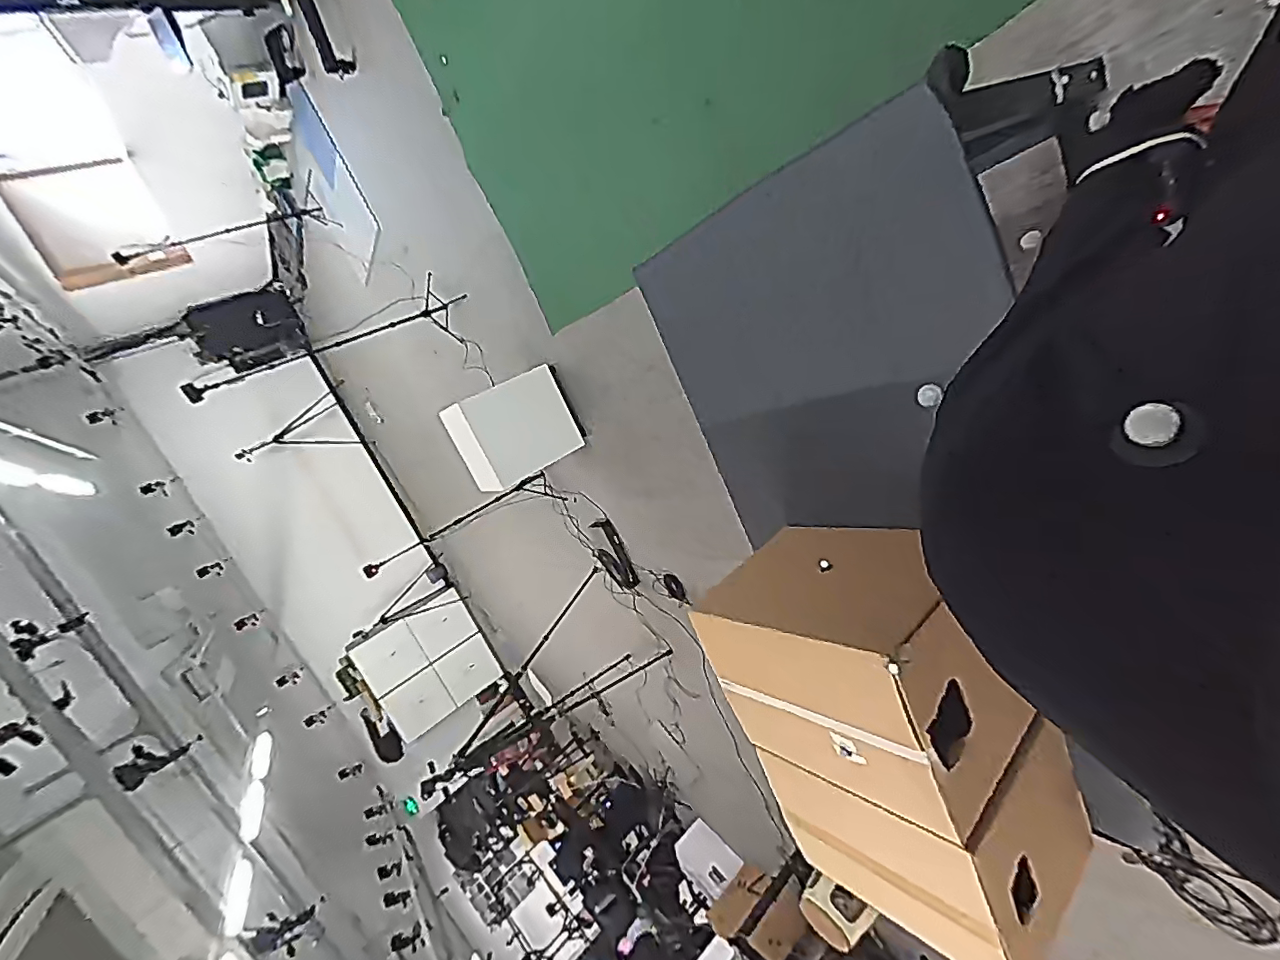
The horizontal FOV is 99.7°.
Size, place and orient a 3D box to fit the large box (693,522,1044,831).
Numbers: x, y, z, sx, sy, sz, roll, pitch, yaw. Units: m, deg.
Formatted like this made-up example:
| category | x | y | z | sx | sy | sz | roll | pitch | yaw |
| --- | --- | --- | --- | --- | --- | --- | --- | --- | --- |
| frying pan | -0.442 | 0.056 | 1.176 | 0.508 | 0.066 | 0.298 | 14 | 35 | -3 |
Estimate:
| category | x | y | z | sx | sy | sz | roll | pitch | yaw |
| --- | --- | --- | --- | --- | --- | --- | --- | --- | --- |
| large box | 0.371 | 0.278 | 0.922 | 0.408 | 0.320 | 0.320 | -8 | 111 | 57 |
